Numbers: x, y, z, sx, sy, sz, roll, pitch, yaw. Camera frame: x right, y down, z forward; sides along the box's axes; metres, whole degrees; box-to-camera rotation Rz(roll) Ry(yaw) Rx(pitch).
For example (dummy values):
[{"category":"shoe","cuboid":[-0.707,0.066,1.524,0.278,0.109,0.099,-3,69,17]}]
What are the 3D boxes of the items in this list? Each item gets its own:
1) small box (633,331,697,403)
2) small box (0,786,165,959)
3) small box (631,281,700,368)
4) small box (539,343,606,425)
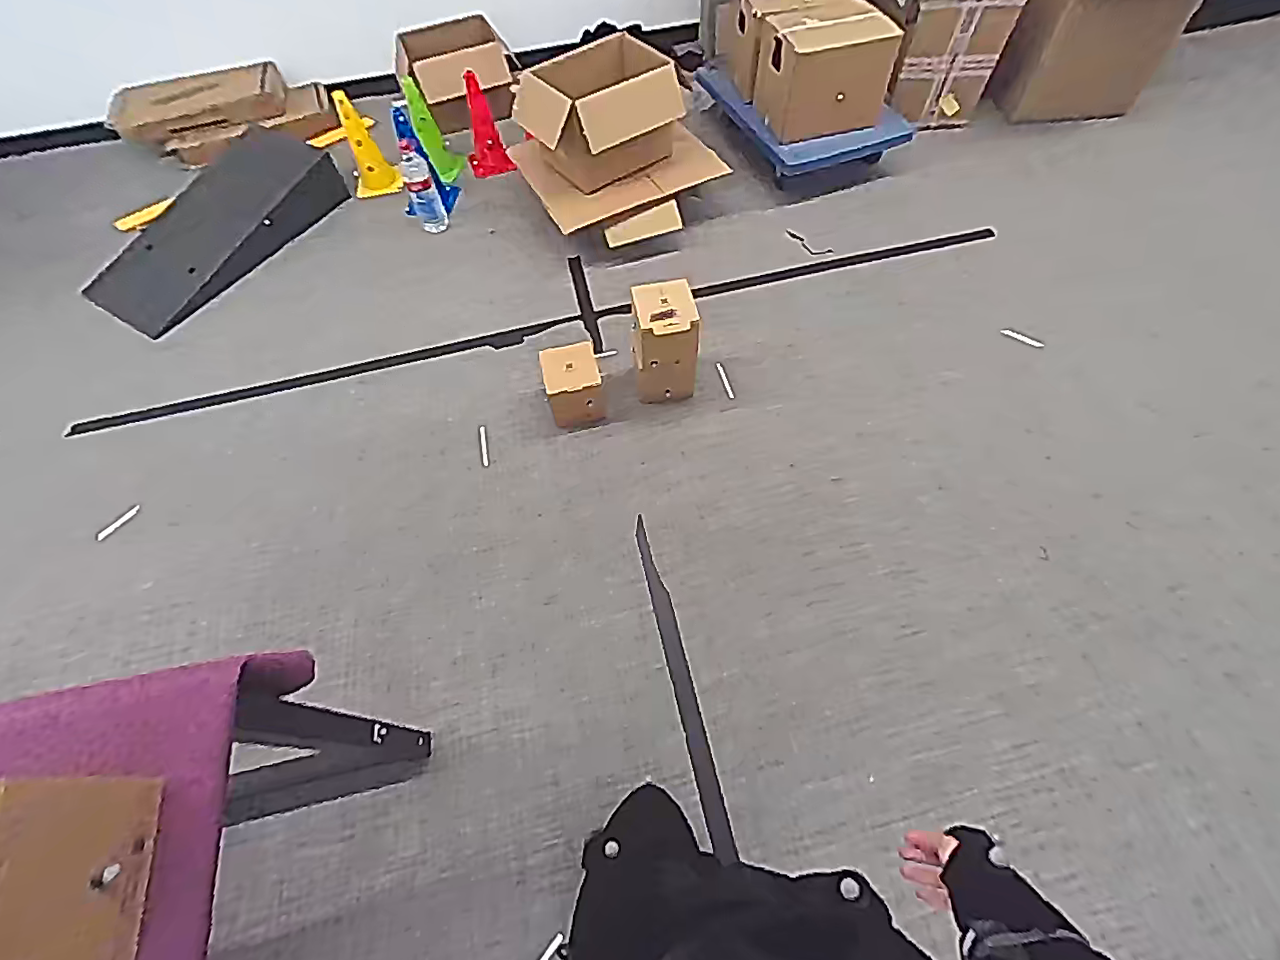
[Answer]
[{"category":"small box","cuboid":[0.074,-0.363,1.707,0.179,0.176,0.168,-8,60,-3]},{"category":"small box","cuboid":[-0.576,0.376,0.464,0.179,0.176,0.168,-13,62,-5]},{"category":"small box","cuboid":[0.073,-0.441,1.561,0.168,0.176,0.179,-10,60,-4]},{"category":"small box","cuboid":[-0.206,-0.289,1.676,0.168,0.176,0.179,-13,60,-7]}]
